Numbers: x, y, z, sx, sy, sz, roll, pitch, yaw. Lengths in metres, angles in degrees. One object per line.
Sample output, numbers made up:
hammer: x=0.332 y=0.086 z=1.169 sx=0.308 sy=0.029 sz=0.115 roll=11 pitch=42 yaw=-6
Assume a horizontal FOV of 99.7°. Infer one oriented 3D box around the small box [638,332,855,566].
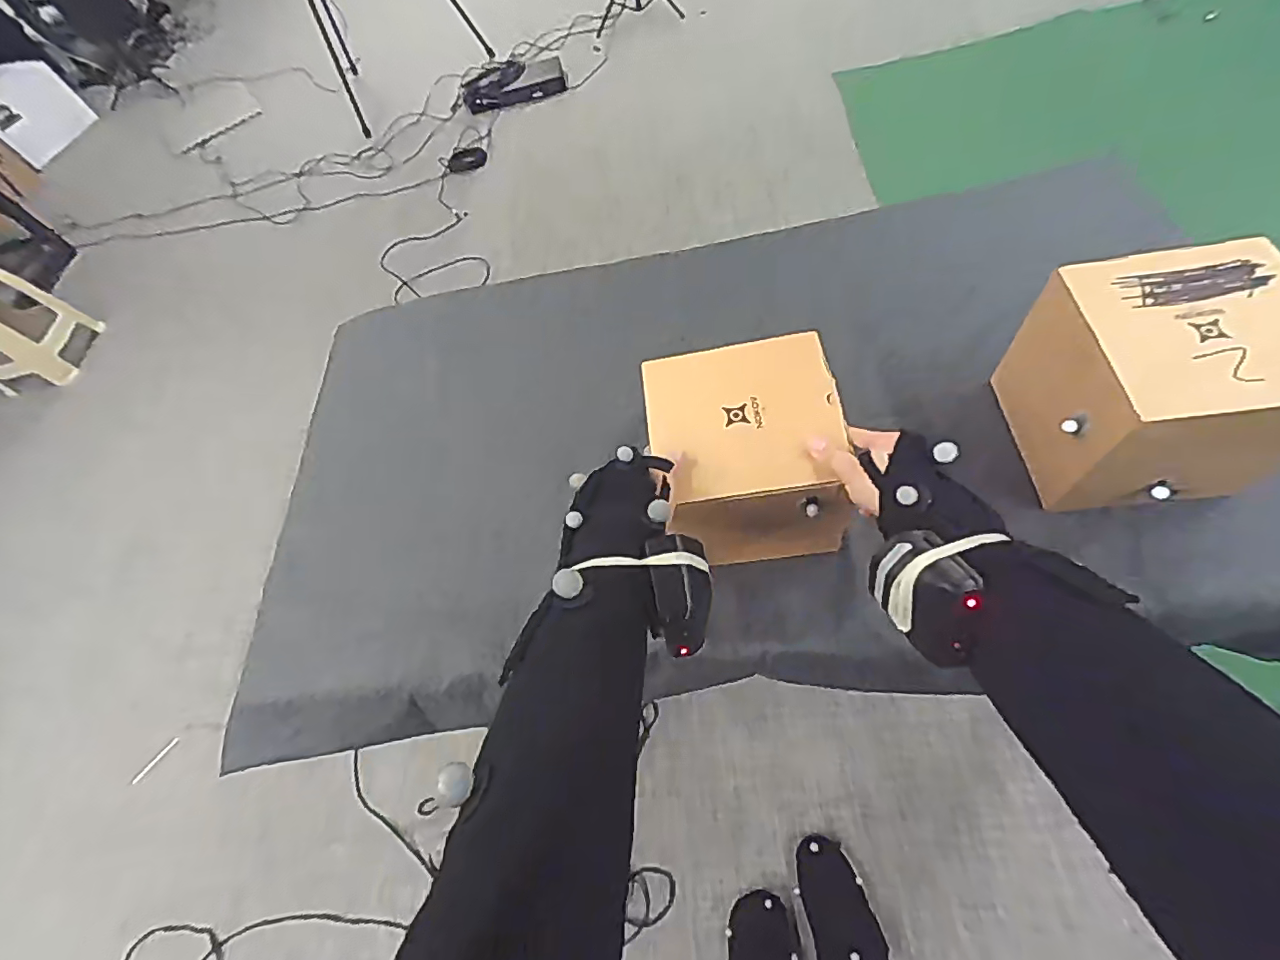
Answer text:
small box: x=0.102 y=-0.021 z=0.558 sx=0.179 sy=0.176 sz=0.168 roll=-8 pitch=60 yaw=6
